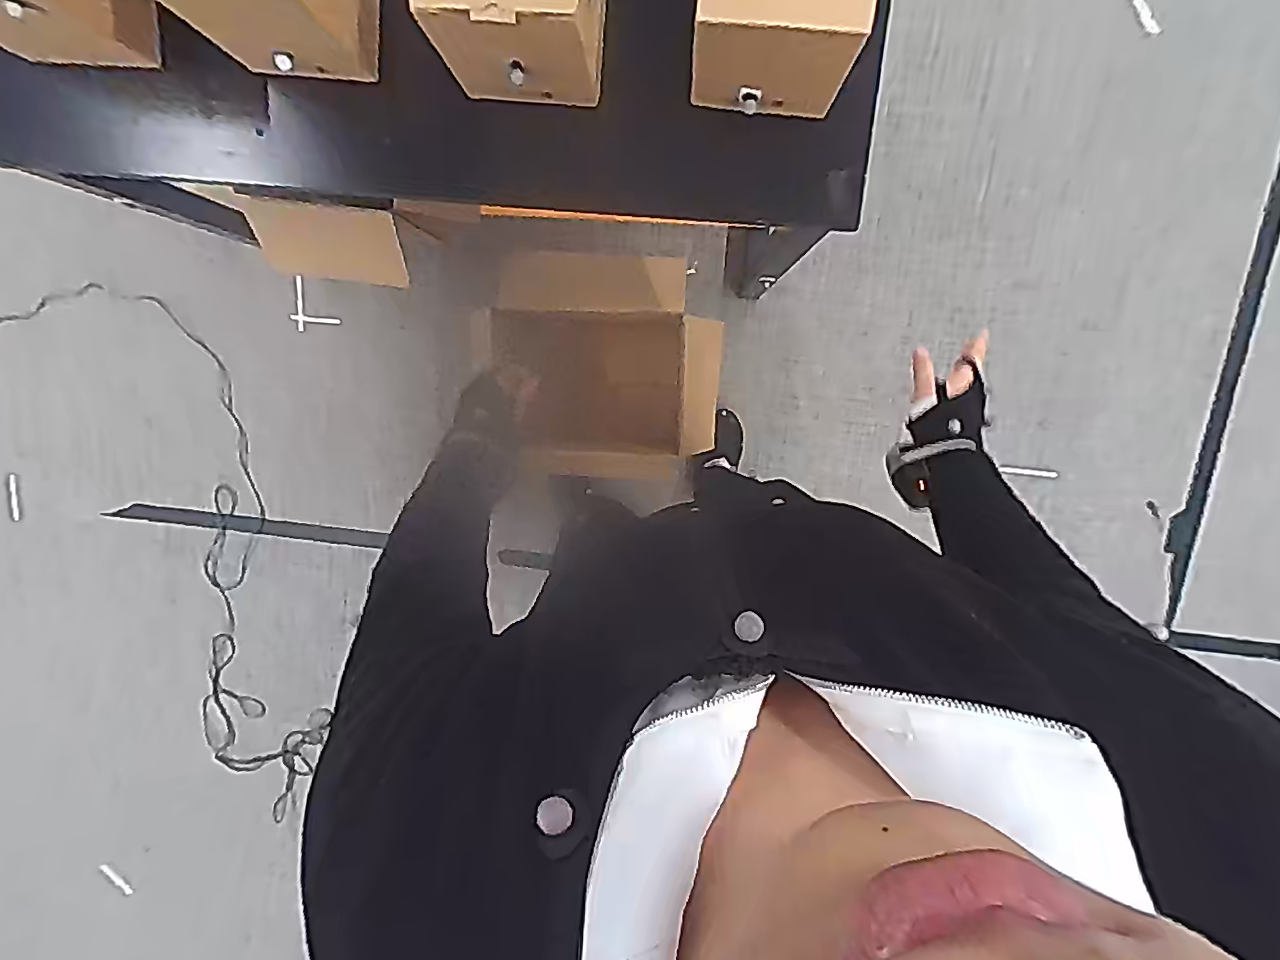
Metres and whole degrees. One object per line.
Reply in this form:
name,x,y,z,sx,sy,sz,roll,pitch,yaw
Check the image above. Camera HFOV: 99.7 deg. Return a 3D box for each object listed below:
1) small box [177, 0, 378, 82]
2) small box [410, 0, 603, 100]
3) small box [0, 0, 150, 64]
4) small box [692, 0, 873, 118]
small box,-0.404,-0.579,0.586,0.168,0.176,0.179,6,101,2
small box,-0.130,-0.544,0.581,0.168,0.176,0.179,5,101,2
small box,-0.689,-0.596,0.593,0.179,0.176,0.168,4,100,1
small box,0.146,-0.524,0.572,0.168,0.176,0.179,6,101,3
